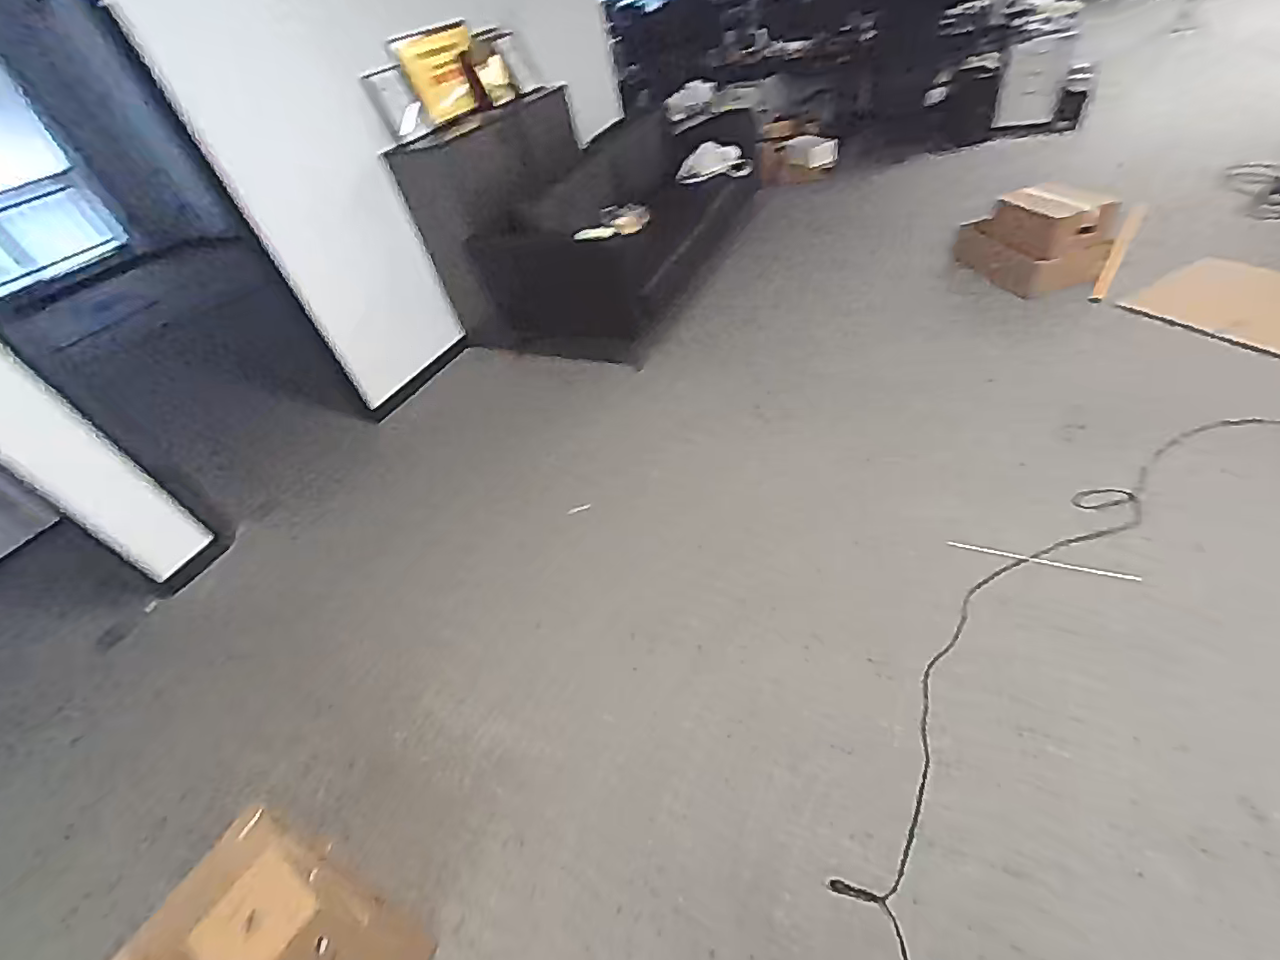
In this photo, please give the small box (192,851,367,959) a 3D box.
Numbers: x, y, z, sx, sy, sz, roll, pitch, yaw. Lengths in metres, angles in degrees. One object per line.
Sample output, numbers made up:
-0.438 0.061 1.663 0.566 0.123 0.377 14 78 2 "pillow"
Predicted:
-0.638 0.823 0.975 0.179 0.176 0.168 16 49 32 "small box"
